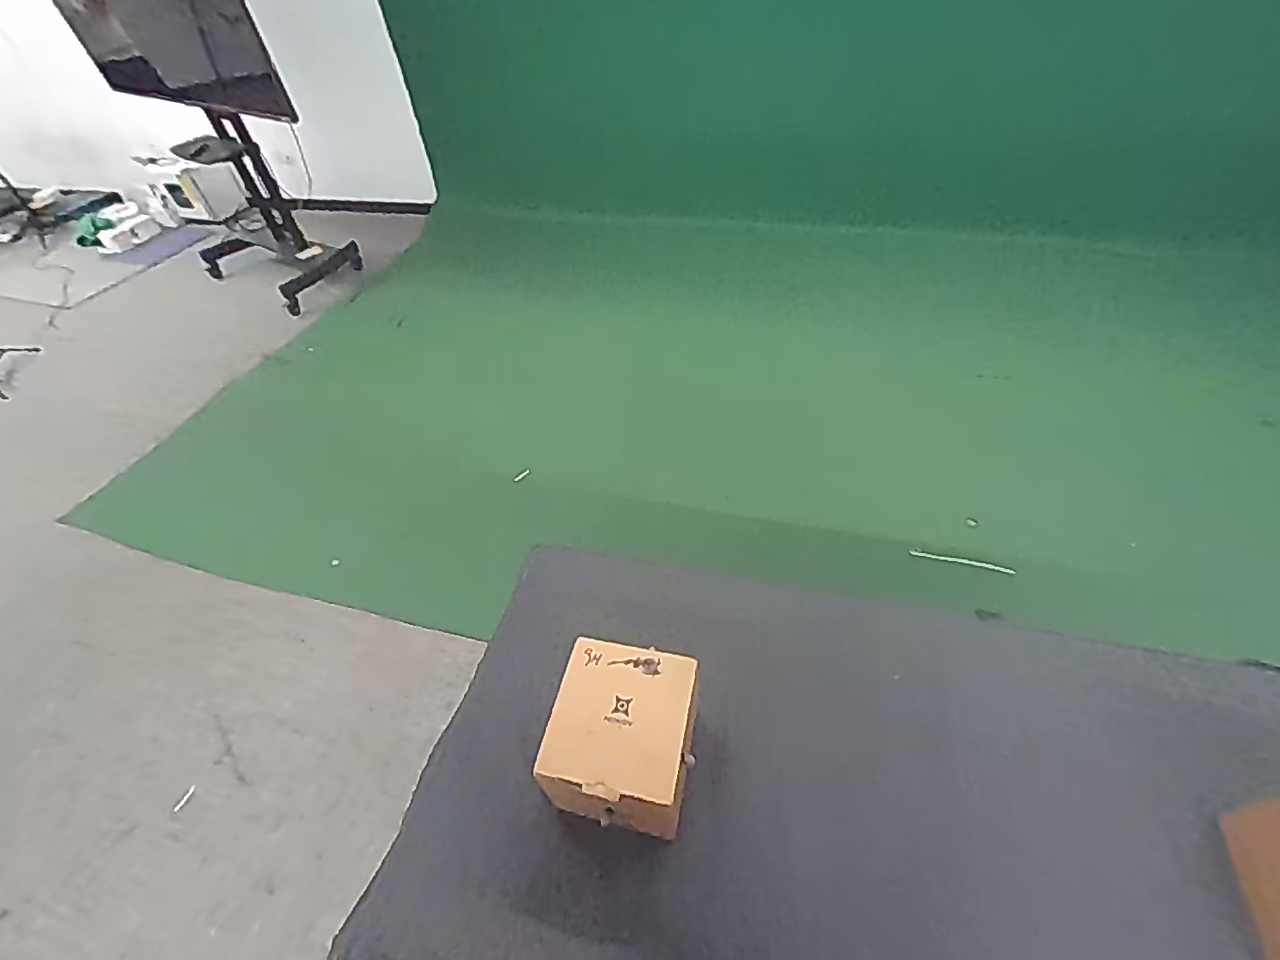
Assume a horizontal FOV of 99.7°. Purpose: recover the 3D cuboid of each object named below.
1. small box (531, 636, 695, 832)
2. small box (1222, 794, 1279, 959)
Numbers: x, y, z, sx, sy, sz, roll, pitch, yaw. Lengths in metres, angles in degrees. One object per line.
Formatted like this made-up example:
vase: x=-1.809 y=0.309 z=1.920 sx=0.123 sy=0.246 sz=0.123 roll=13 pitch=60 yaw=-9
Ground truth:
small box: x=-0.021 y=0.336 z=0.712 sx=0.168 sy=0.176 sz=0.179 roll=7 pitch=48 yaw=12
small box: x=0.761 y=0.435 z=0.538 sx=0.168 sy=0.176 sz=0.179 roll=11 pitch=48 yaw=14
